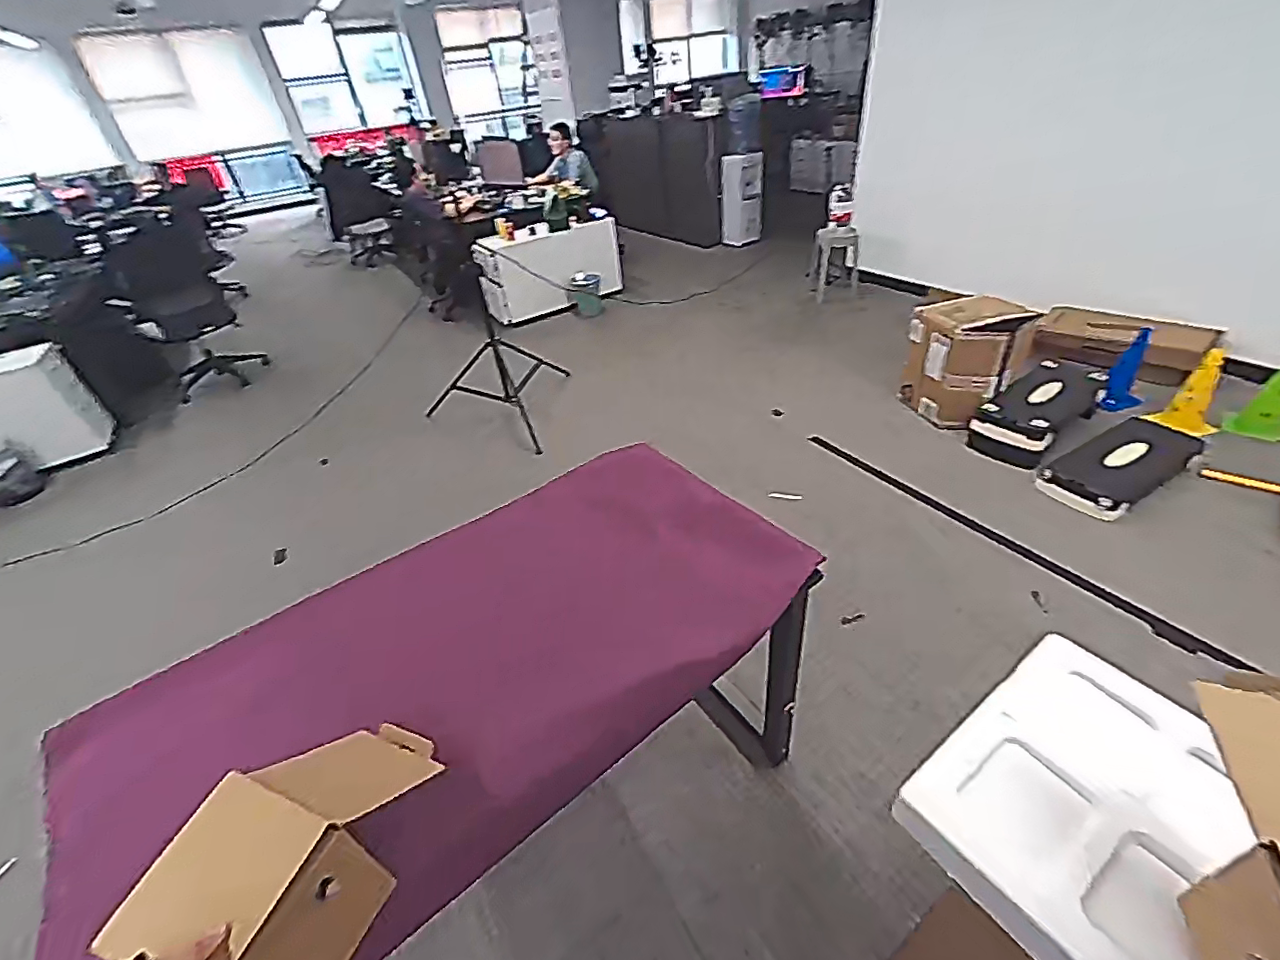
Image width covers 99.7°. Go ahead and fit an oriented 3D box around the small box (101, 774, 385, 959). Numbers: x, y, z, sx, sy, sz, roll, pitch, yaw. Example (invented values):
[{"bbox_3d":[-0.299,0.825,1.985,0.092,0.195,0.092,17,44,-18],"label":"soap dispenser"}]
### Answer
[{"bbox_3d":[-0.423,0.484,0.615,0.168,0.176,0.179,8,39,24],"label":"small box"}]
